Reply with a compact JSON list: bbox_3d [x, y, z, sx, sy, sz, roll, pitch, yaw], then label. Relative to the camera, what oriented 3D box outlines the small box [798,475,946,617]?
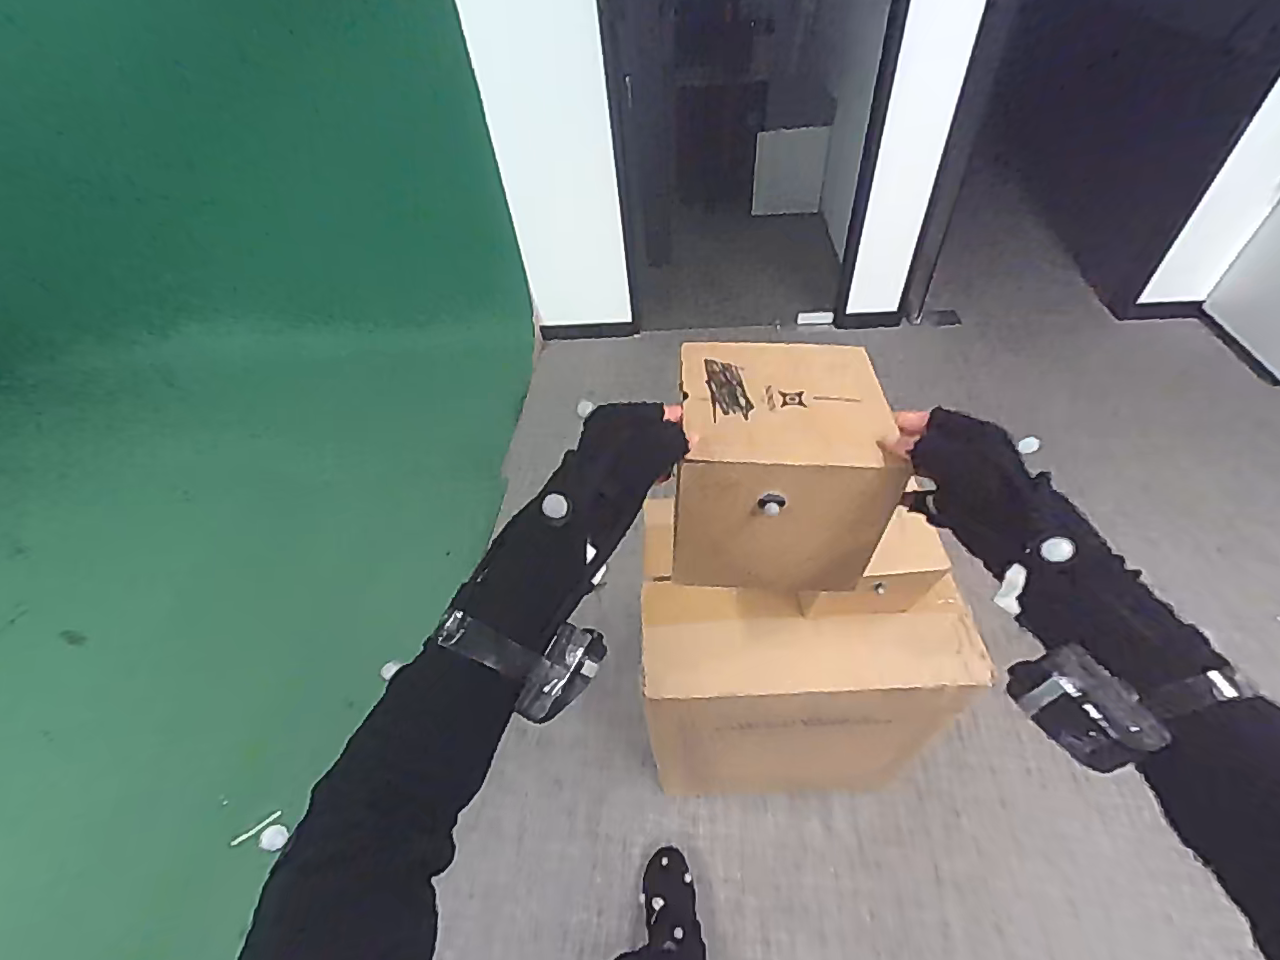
[{"bbox_3d":[0.344,0.111,0.868,0.179,0.176,0.168,-5,57,0],"label":"small box"}]

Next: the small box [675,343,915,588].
[{"bbox_3d":[0.123,-0.012,0.513,0.179,0.176,0.168,2,46,2],"label":"small box"}]
